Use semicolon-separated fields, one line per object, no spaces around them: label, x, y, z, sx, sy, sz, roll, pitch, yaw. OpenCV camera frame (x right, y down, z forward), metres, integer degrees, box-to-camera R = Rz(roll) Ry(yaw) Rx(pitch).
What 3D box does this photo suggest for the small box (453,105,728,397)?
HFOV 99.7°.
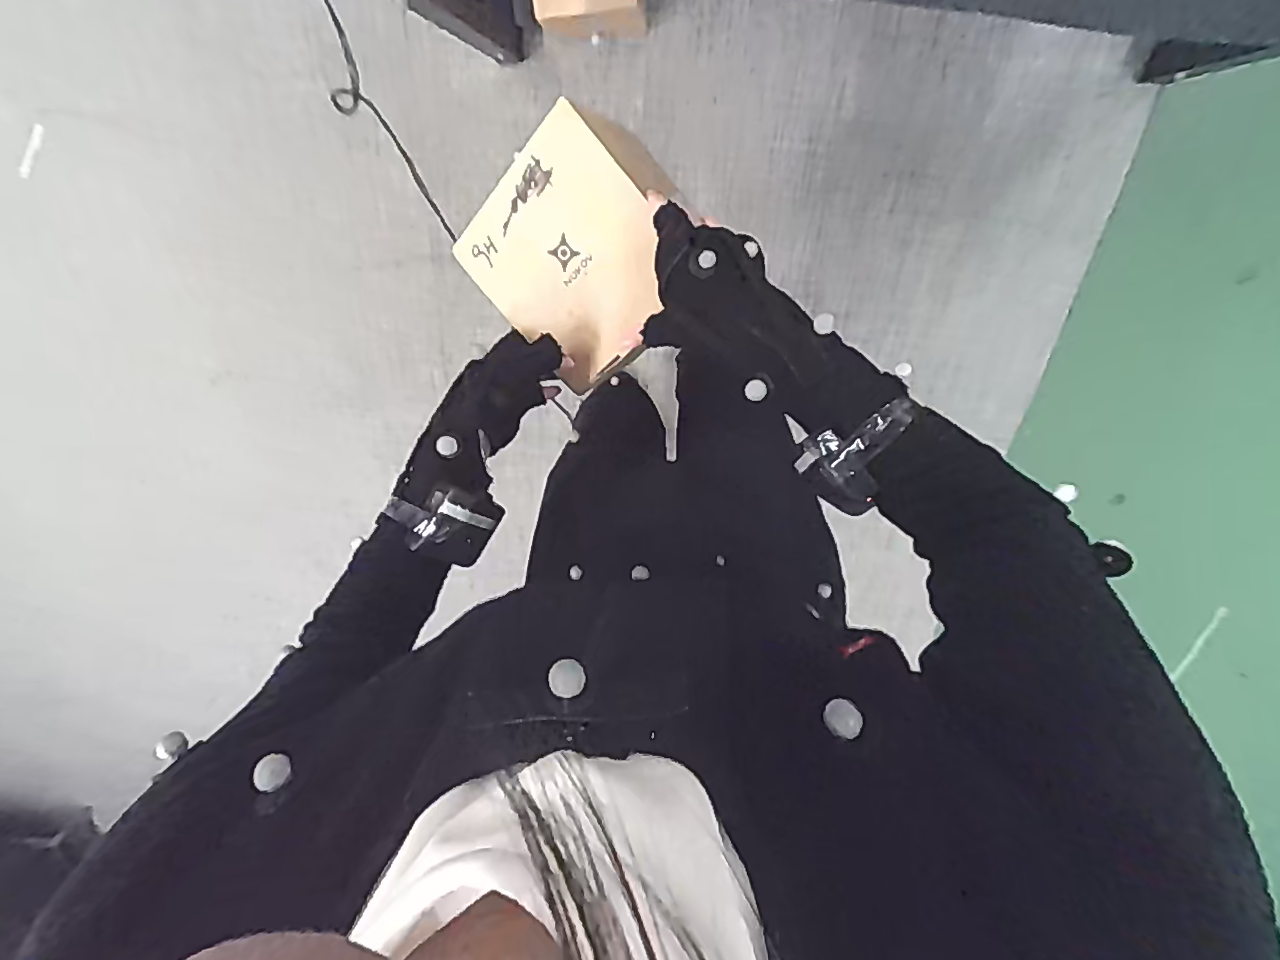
small box;-0.034;-0.216;0.529;0.168;0.176;0.179;-37;98;29
